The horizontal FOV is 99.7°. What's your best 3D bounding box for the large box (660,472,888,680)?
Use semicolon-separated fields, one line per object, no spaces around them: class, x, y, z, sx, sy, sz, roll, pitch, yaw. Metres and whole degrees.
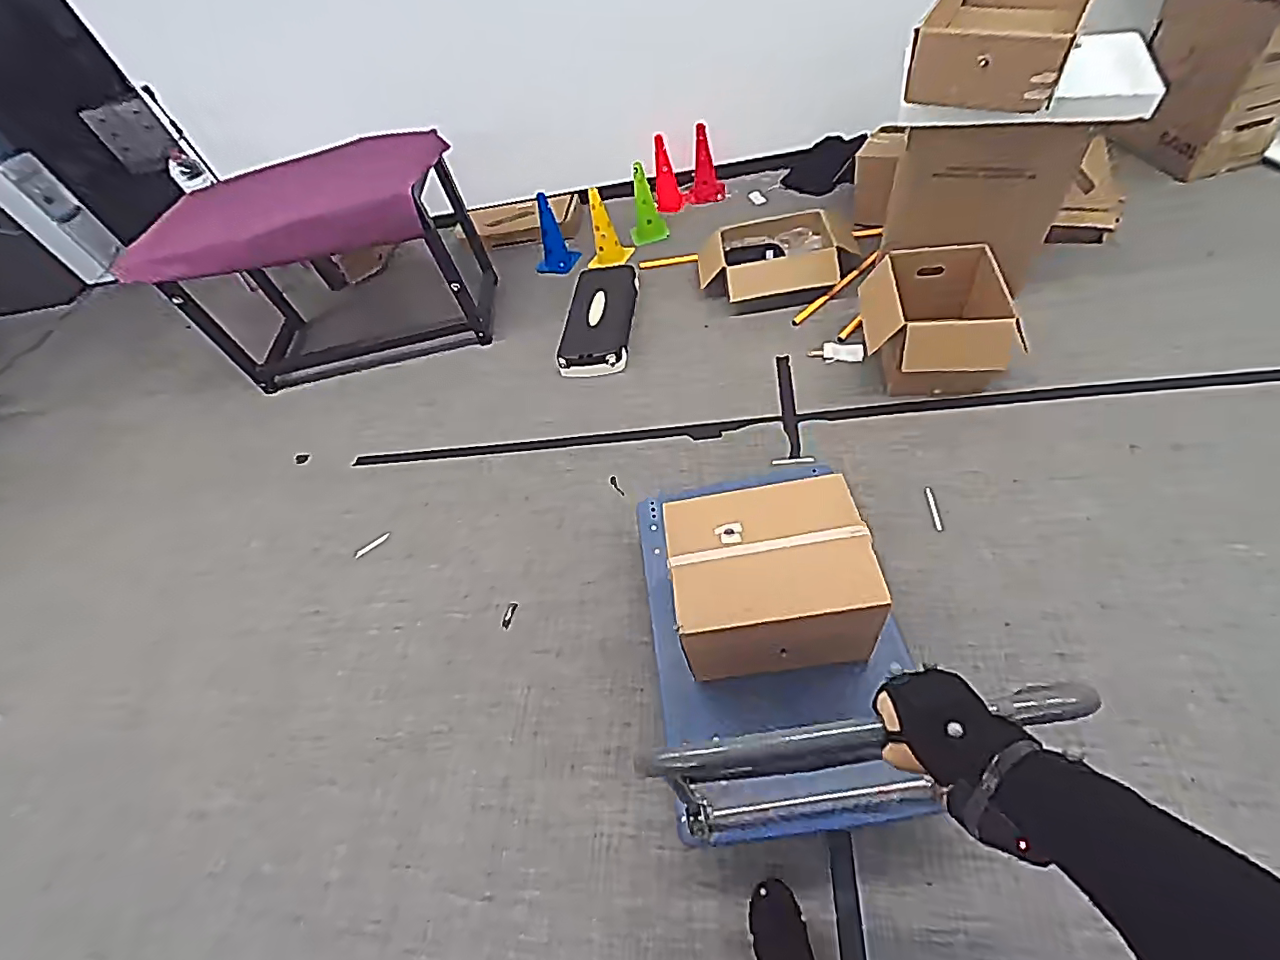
large box;0.283;0.228;1.217;0.408;0.320;0.320;-11;51;7
